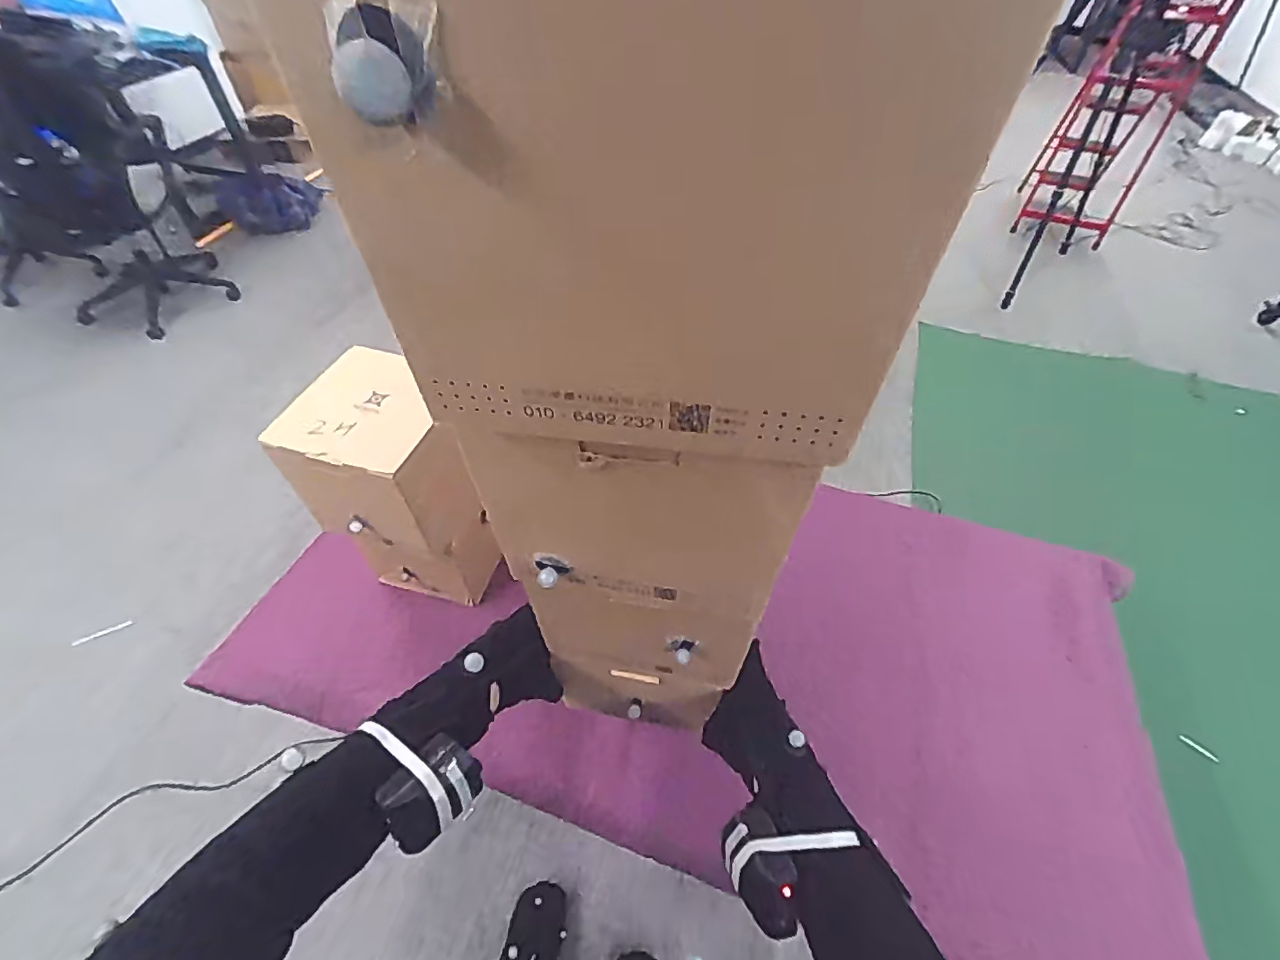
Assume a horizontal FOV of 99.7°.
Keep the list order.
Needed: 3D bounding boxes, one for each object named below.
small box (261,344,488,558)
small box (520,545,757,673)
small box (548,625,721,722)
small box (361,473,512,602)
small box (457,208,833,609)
[{"bbox_3d":[-0.301,-0.035,0.666,0.168,0.176,0.179,14,52,9],"label":"small box"},{"bbox_3d":[0.016,0.045,0.460,0.168,0.176,0.179,8,53,6],"label":"small box"},{"bbox_3d":[0.008,0.155,0.605,0.168,0.176,0.179,6,52,6],"label":"small box"},{"bbox_3d":[-0.298,0.053,0.807,0.168,0.176,0.179,13,52,8],"label":"small box"},{"bbox_3d":[0.015,-0.040,0.339,0.168,0.176,0.179,10,52,6],"label":"small box"}]
